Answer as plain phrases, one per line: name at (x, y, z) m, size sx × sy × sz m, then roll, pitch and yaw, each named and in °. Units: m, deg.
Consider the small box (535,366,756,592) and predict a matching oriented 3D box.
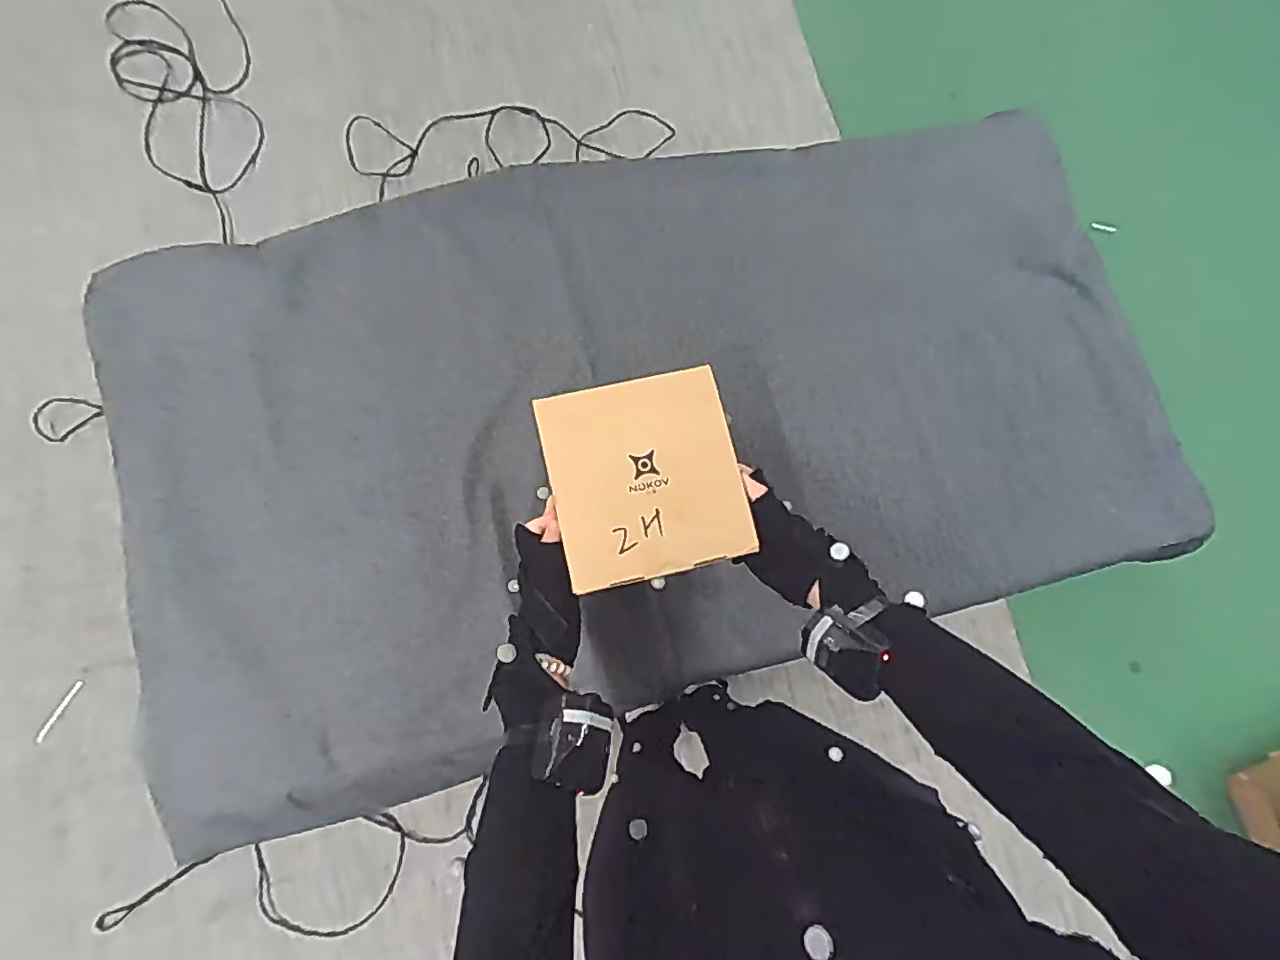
small box at (-0.003, 0.008, 0.548) m, size 0.168 × 0.176 × 0.179 m, roll -13°, pitch 82°, yaw -5°
